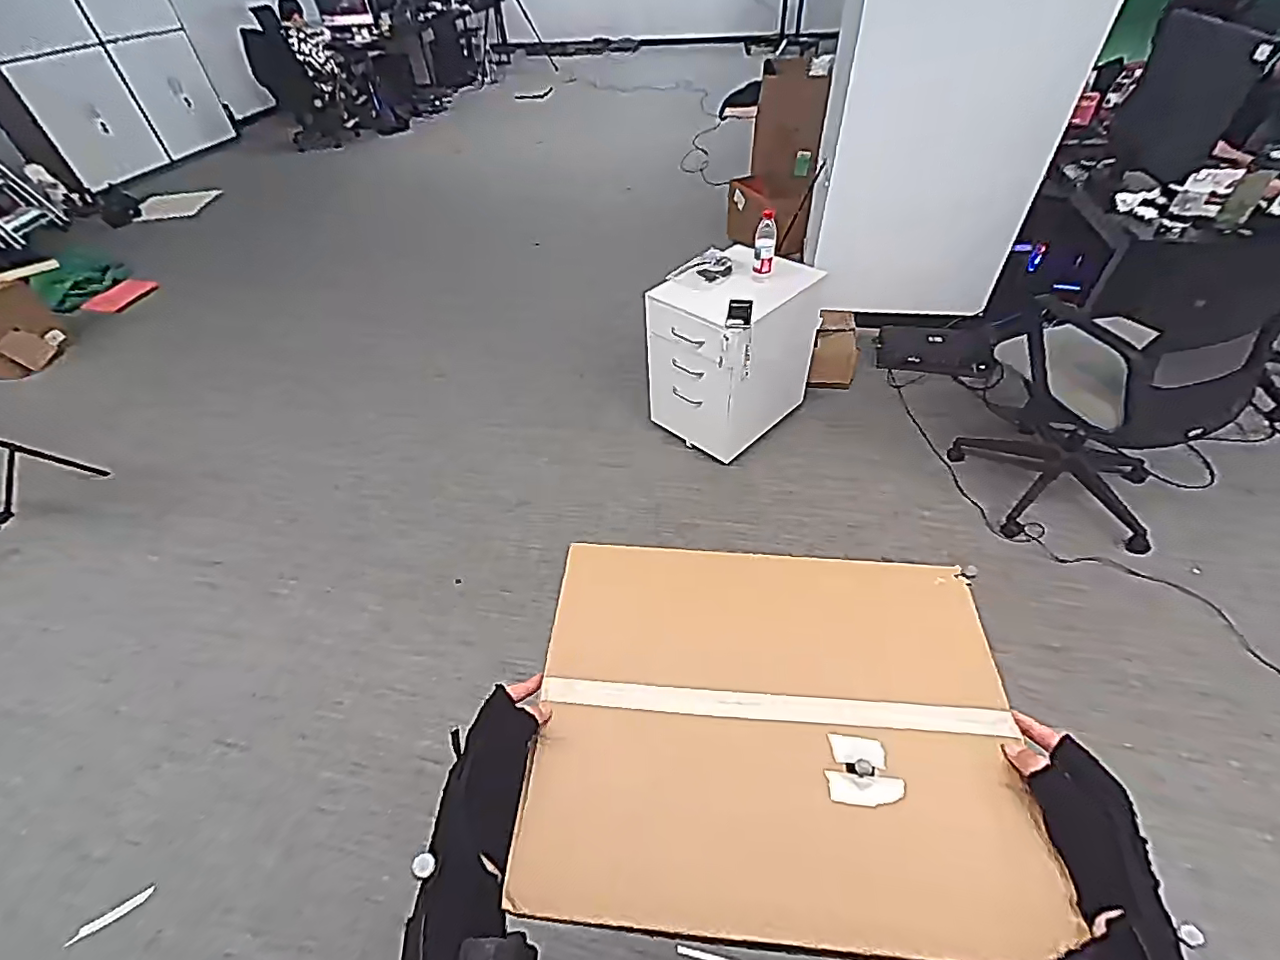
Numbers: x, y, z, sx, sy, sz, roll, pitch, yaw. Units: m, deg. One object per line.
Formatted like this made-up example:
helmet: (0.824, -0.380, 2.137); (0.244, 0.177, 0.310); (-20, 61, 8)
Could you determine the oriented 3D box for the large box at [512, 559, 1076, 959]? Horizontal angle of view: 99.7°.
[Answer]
large box: (0.114, 0.306, 0.587); (0.408, 0.320, 0.320); (3, 51, 4)
